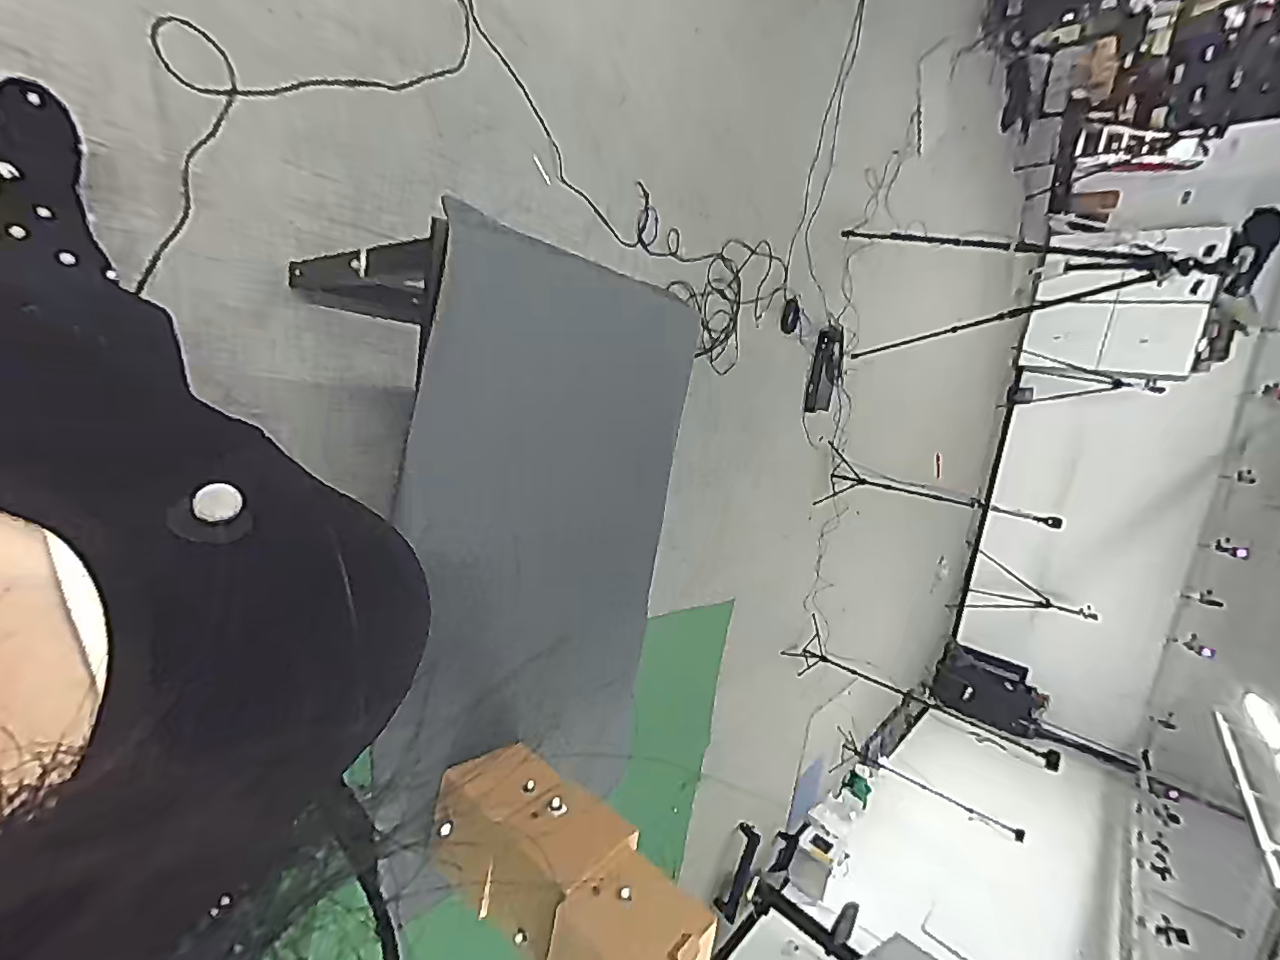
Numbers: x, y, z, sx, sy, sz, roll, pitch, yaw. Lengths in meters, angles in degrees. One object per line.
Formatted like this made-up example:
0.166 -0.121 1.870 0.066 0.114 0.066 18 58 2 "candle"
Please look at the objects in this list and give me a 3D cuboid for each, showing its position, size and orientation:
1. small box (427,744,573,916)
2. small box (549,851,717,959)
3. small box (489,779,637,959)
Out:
-0.252 0.612 0.978 0.179 0.176 0.168 7 96 -51 "small box"
-0.018 0.682 0.760 0.168 0.176 0.179 2 100 -53 "small box"
-0.128 0.635 0.876 0.168 0.176 0.179 -5 105 -51 "small box"
